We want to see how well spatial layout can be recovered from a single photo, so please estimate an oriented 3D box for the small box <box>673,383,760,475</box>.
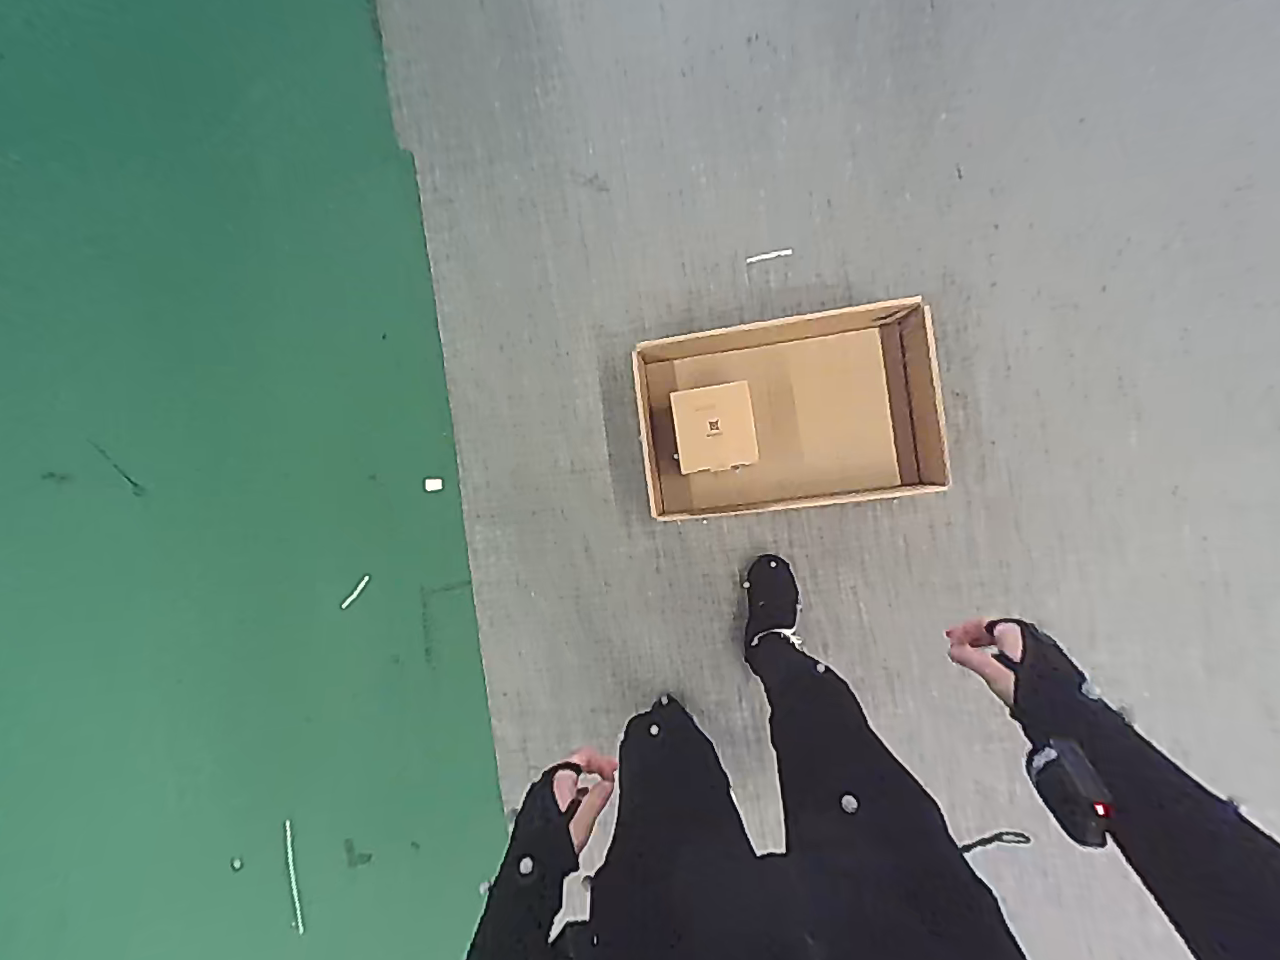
[{"bbox_3d":[0.172,-0.107,1.206,0.168,0.176,0.179,-8,88,8],"label":"small box"}]
